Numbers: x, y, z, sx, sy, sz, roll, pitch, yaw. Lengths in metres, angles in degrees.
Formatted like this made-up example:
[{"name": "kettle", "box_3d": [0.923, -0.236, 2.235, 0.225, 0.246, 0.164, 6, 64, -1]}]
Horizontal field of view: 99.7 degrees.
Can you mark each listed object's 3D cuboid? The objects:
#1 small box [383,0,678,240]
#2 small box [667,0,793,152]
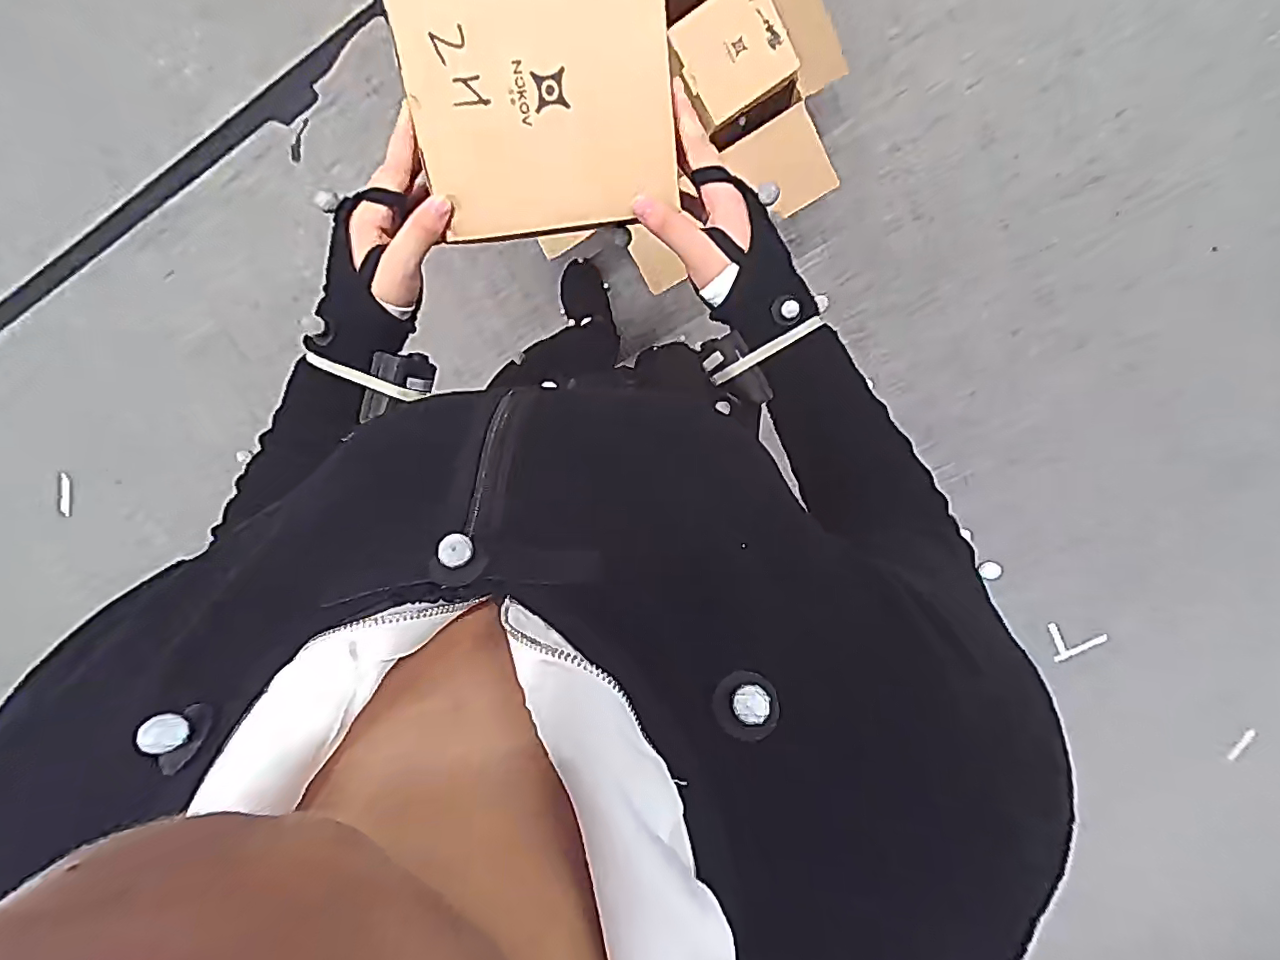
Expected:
[{"name": "small box", "box_3d": [-0.067, -0.288, 0.426, 0.179, 0.176, 0.168, -5, 114, 3]}, {"name": "small box", "box_3d": [0.146, -0.740, 0.986, 0.179, 0.176, 0.168, -32, 106, 7]}]
